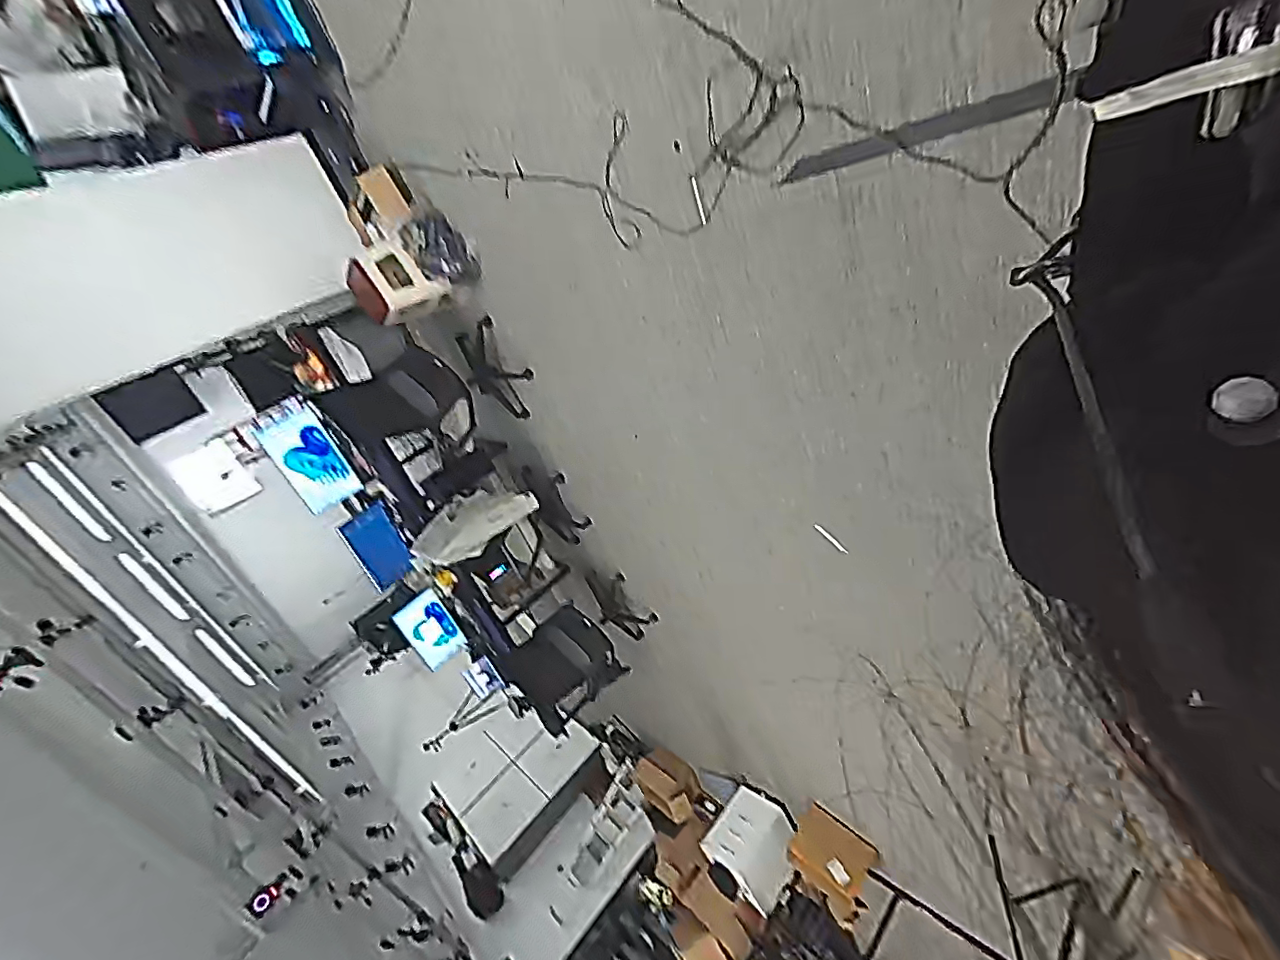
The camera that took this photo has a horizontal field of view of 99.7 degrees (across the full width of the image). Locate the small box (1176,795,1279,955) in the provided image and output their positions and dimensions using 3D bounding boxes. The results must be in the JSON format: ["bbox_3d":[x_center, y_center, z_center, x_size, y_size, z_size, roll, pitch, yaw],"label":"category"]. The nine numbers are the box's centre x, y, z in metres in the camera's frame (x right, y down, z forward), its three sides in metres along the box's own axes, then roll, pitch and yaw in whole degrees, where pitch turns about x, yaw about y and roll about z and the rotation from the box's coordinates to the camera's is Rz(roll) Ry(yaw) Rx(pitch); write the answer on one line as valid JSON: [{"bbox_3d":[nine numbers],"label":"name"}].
[{"bbox_3d":[1.198,0.772,1.067,0.168,0.176,0.179,15,133,46],"label":"small box"}]
